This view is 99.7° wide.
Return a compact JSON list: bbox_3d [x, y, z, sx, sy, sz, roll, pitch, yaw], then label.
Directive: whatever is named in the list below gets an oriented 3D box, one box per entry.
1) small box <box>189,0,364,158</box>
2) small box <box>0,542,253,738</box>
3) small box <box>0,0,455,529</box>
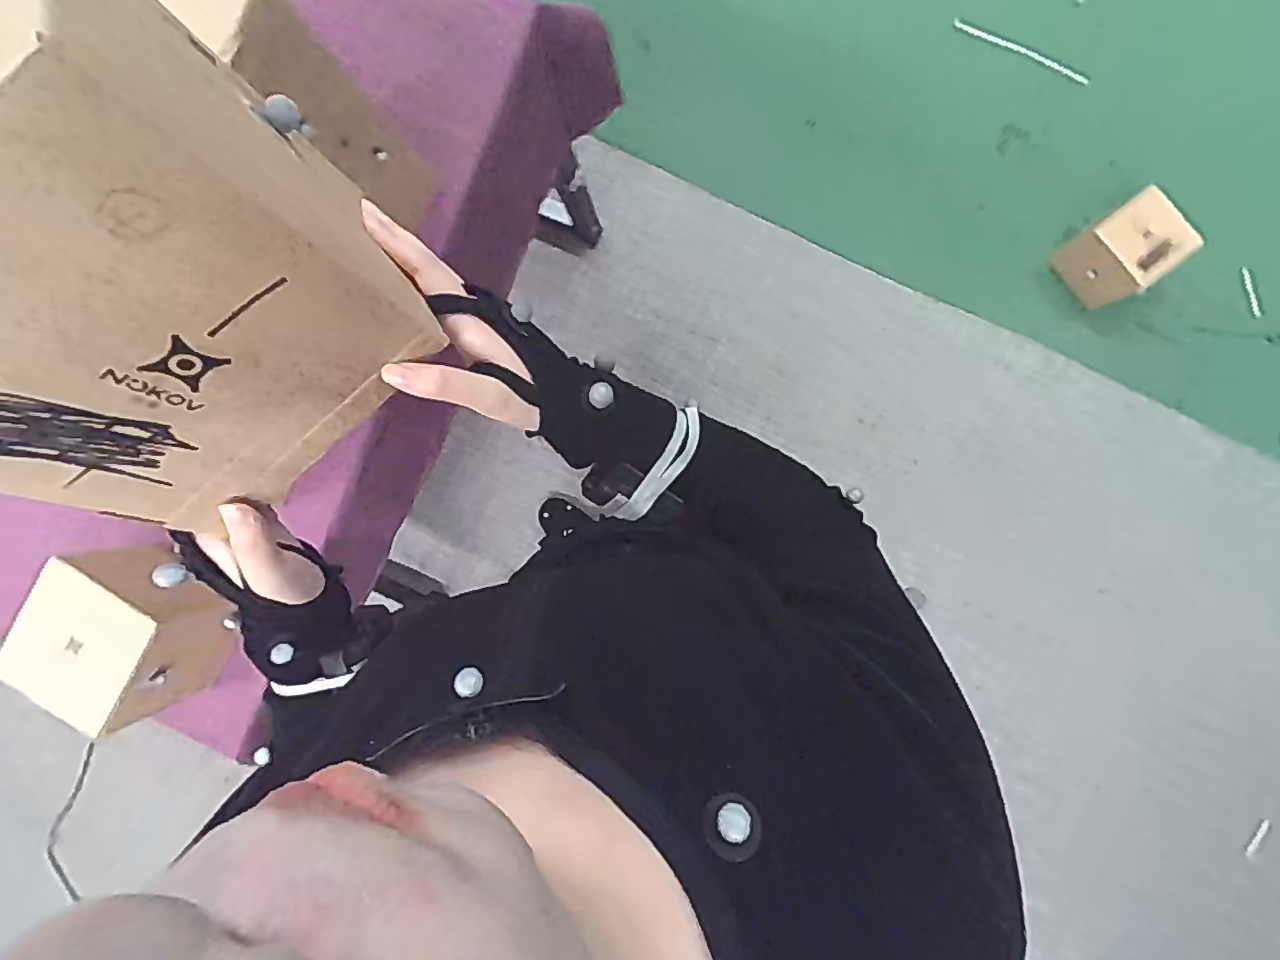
[{"bbox_3d":[-0.424,-0.393,0.549,0.179,0.176,0.168,27,93,3],"label":"small box"},{"bbox_3d":[-0.696,0.206,0.752,0.168,0.176,0.179,31,93,3],"label":"small box"},{"bbox_3d":[-0.233,-0.106,0.264,0.179,0.168,0.176,-38,65,6],"label":"small box"}]
